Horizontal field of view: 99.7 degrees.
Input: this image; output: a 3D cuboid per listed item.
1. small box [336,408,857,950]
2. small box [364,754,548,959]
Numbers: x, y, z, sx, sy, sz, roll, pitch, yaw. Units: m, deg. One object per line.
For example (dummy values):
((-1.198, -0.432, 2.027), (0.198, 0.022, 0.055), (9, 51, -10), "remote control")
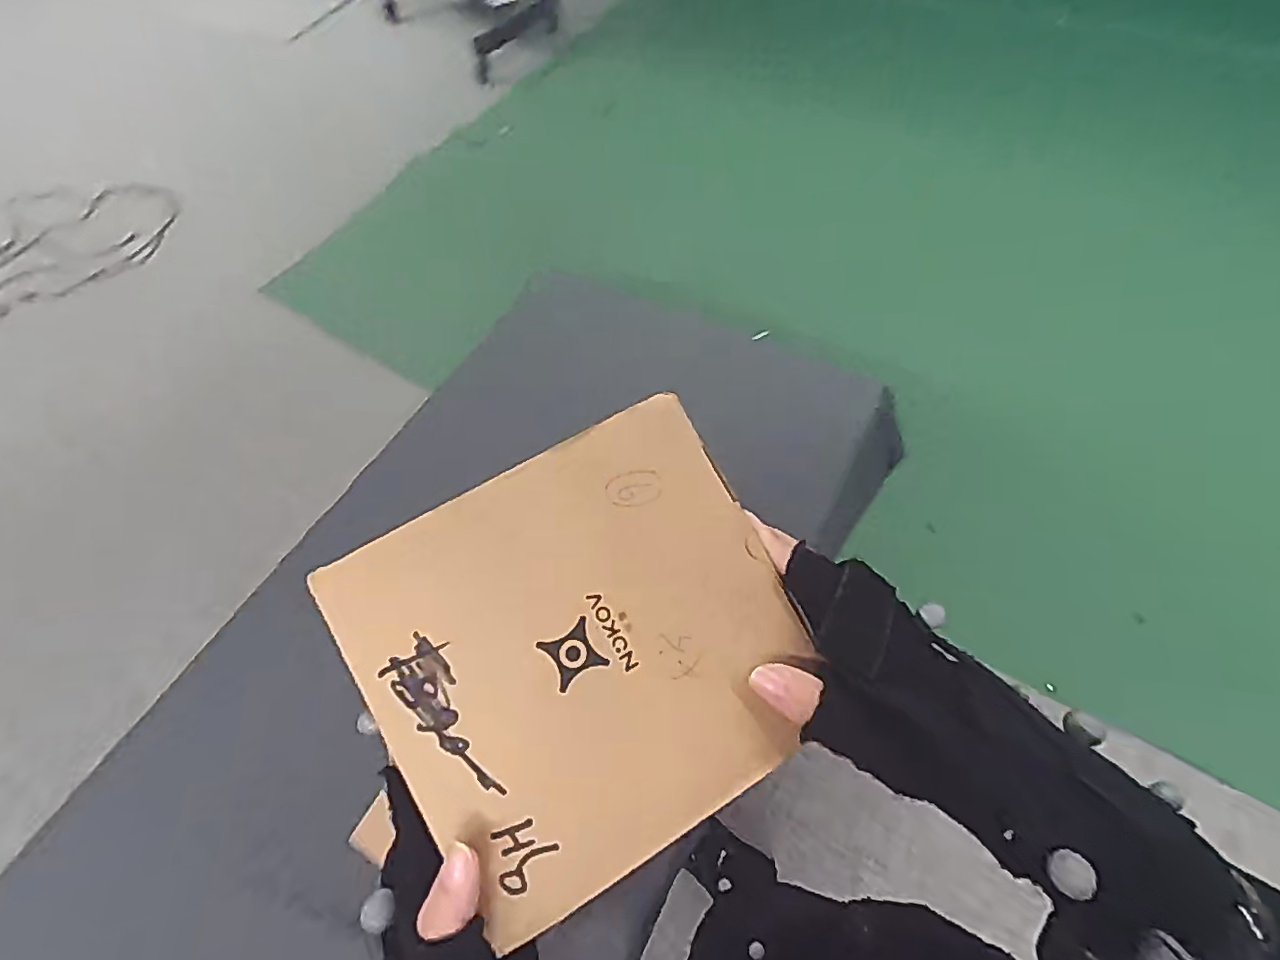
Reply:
((-0.024, 0.085, 0.308), (0.179, 0.176, 0.168), (-27, 84, -11), "small box")
((-0.109, 0.289, 0.518), (0.168, 0.176, 0.179), (24, 68, 18), "small box")
